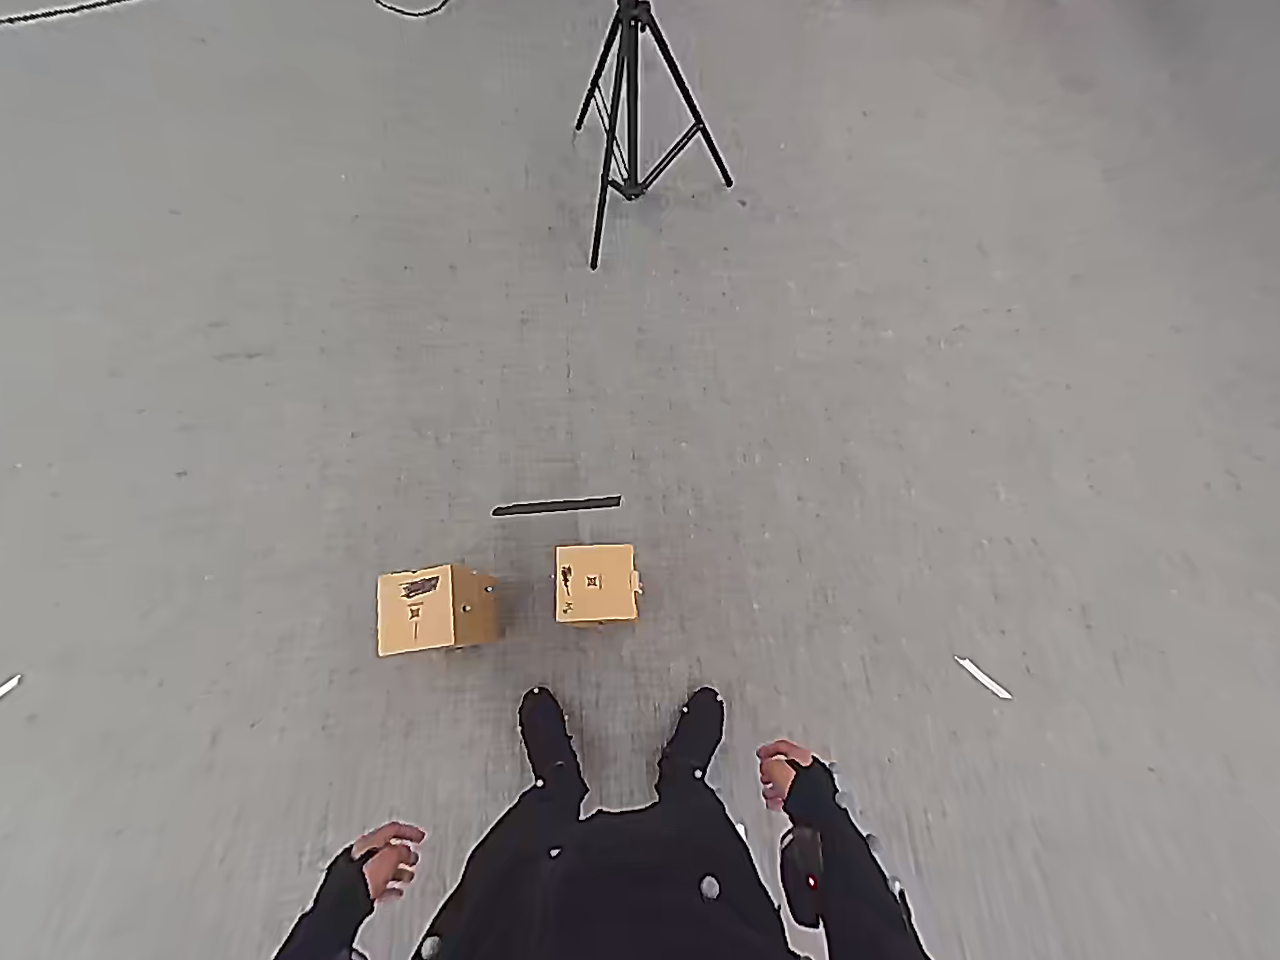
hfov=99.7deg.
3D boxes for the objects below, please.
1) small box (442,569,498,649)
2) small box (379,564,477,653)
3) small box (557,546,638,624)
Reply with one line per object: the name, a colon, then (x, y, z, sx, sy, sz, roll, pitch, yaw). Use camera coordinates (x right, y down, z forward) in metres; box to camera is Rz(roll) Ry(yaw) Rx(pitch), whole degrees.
small box: (-0.476, 0.341, 1.410, 0.168, 0.176, 0.179, -9, 74, -2)
small box: (-0.483, 0.300, 1.252, 0.168, 0.176, 0.179, -7, 74, -1)
small box: (-0.096, 0.248, 1.267, 0.179, 0.176, 0.168, -1, 73, -1)
